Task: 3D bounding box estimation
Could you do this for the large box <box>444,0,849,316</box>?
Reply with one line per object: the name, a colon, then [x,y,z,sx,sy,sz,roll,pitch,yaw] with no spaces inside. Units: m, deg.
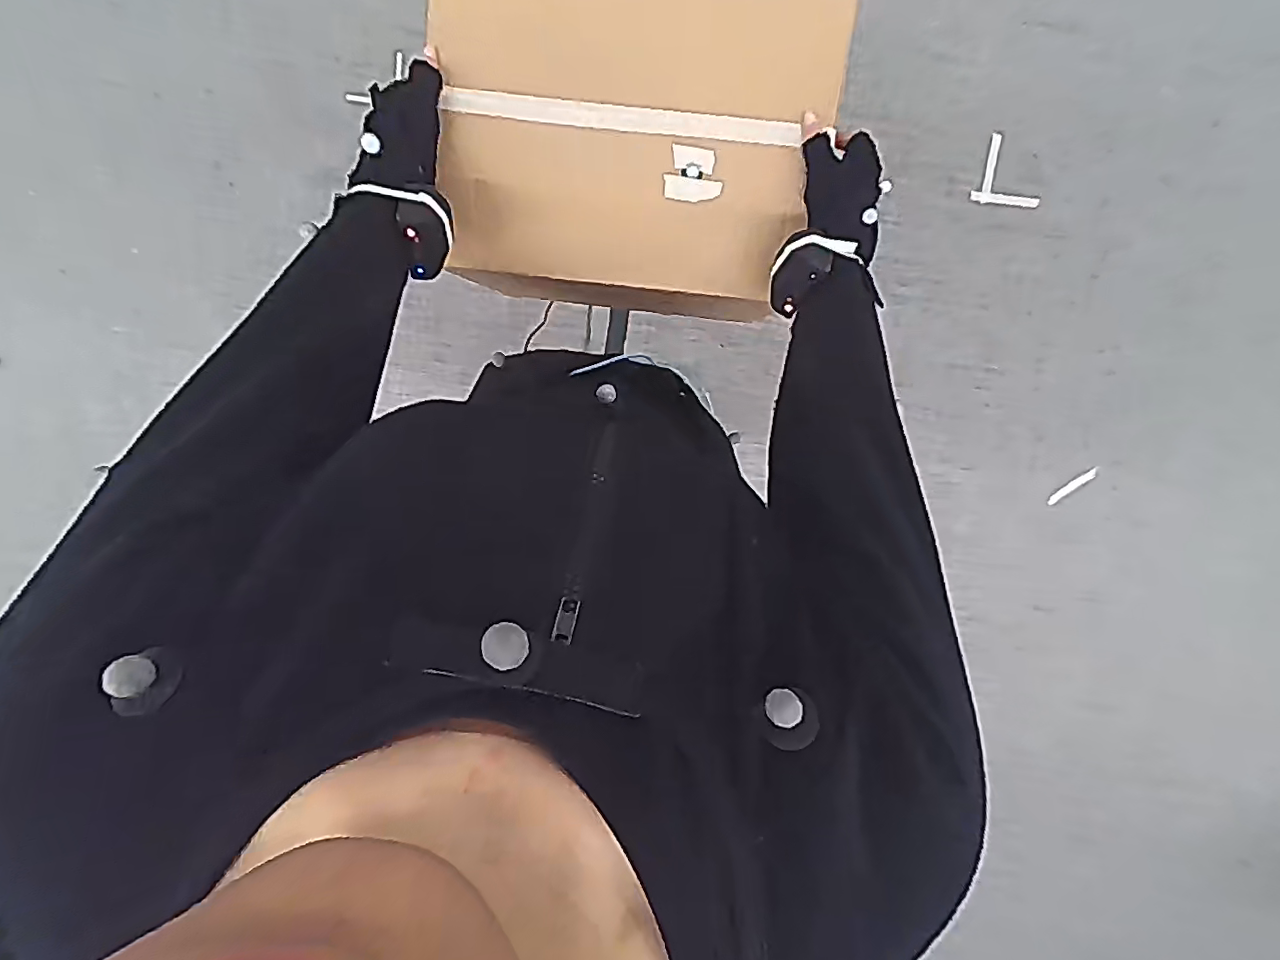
large box: [-0.005,-0.398,0.701,0.408,0.320,0.320,5,104,-2]
